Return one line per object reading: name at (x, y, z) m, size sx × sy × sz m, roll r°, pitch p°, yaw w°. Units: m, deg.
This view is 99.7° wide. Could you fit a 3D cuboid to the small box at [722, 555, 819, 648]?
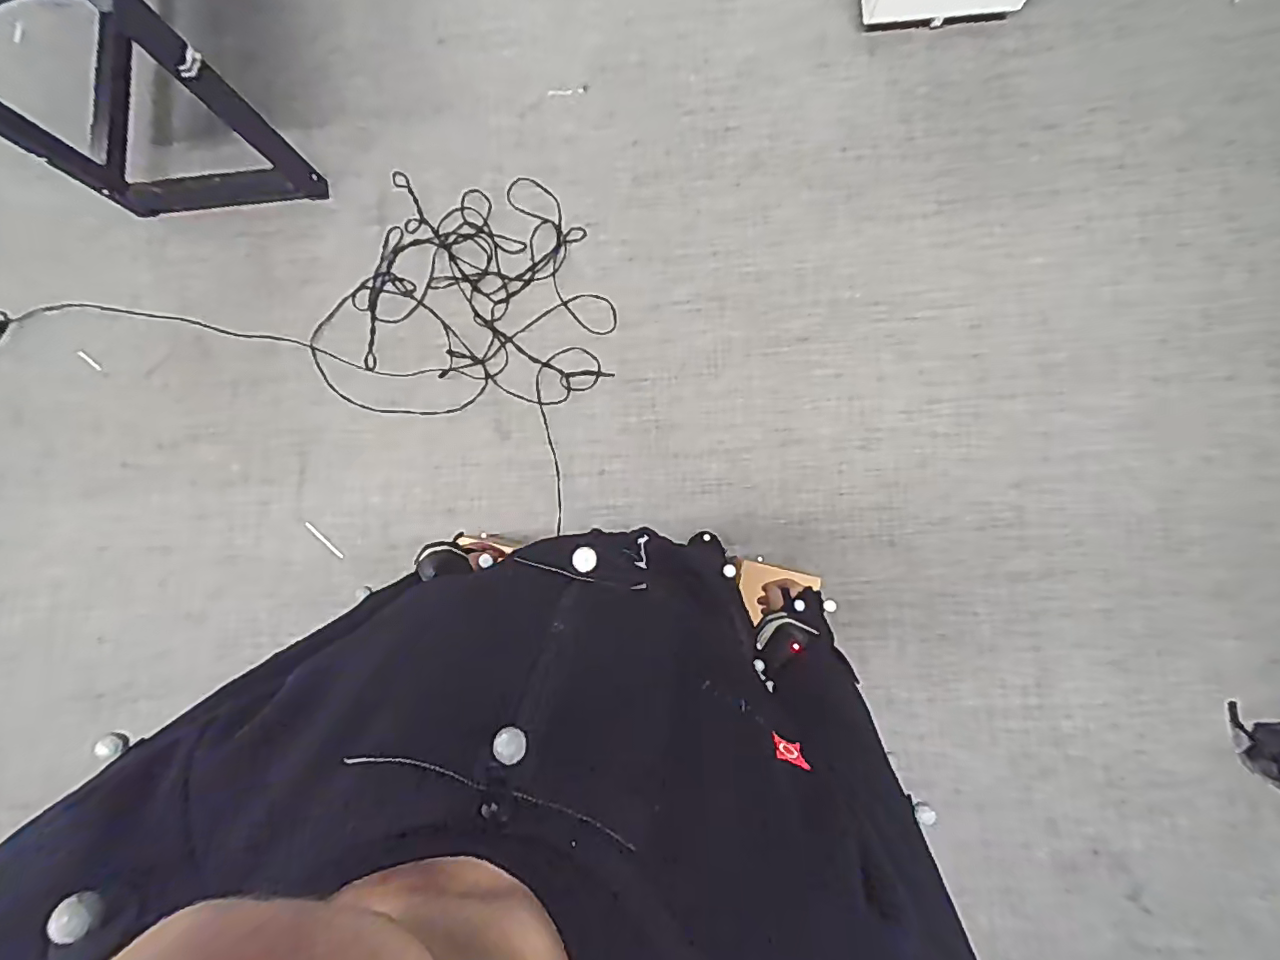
small box at (0.298, 0.276, 1.268) m, size 0.179 × 0.176 × 0.168 m, roll 12°, pitch 87°, yaw 5°
